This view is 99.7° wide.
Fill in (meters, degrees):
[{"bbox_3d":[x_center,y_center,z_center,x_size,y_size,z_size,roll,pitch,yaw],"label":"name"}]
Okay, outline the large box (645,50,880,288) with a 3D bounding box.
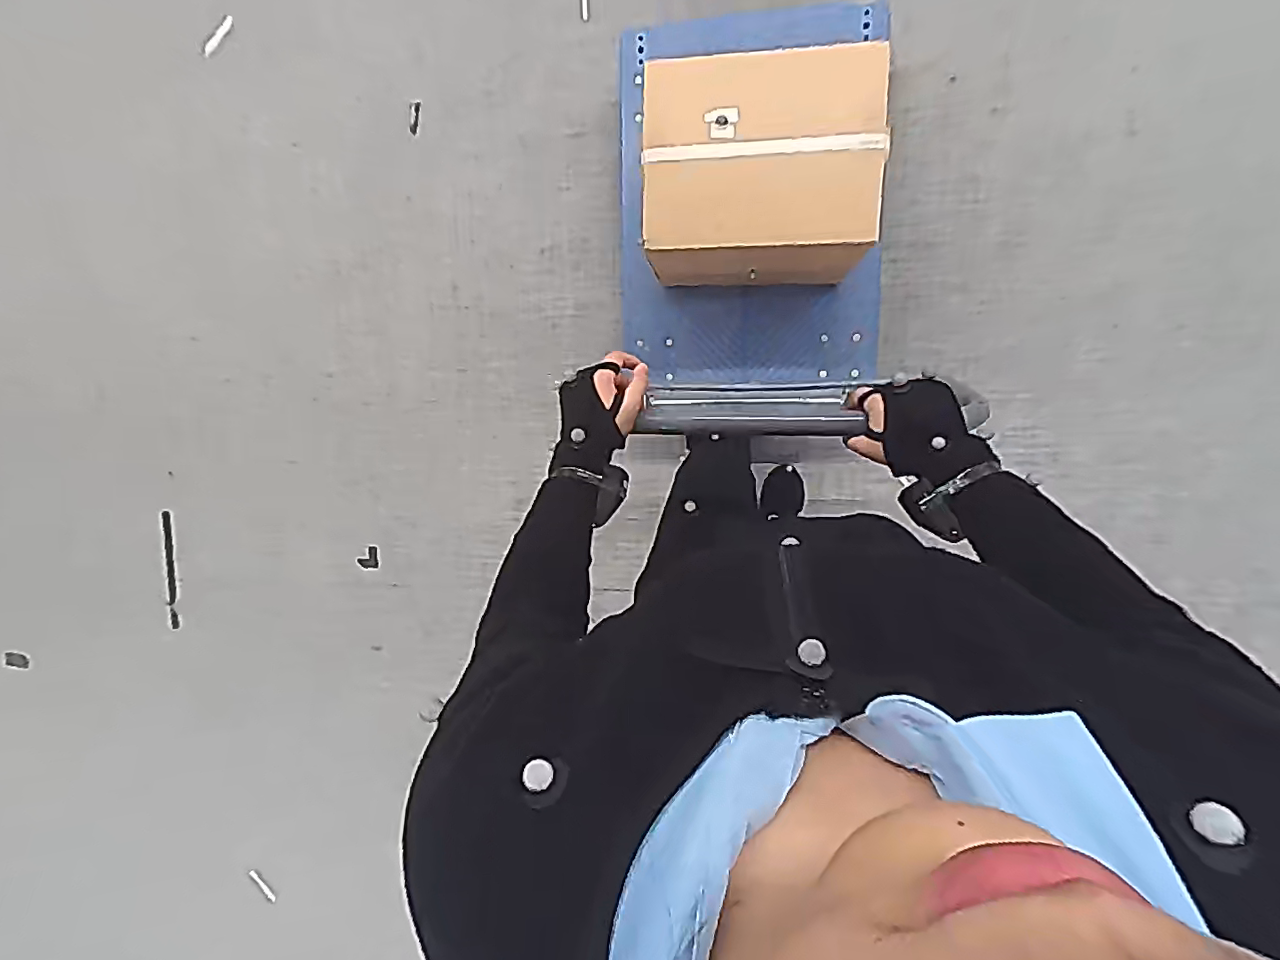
[{"bbox_3d":[0.231,-0.583,1.090,0.408,0.320,0.320,2,97,10],"label":"large box"}]
